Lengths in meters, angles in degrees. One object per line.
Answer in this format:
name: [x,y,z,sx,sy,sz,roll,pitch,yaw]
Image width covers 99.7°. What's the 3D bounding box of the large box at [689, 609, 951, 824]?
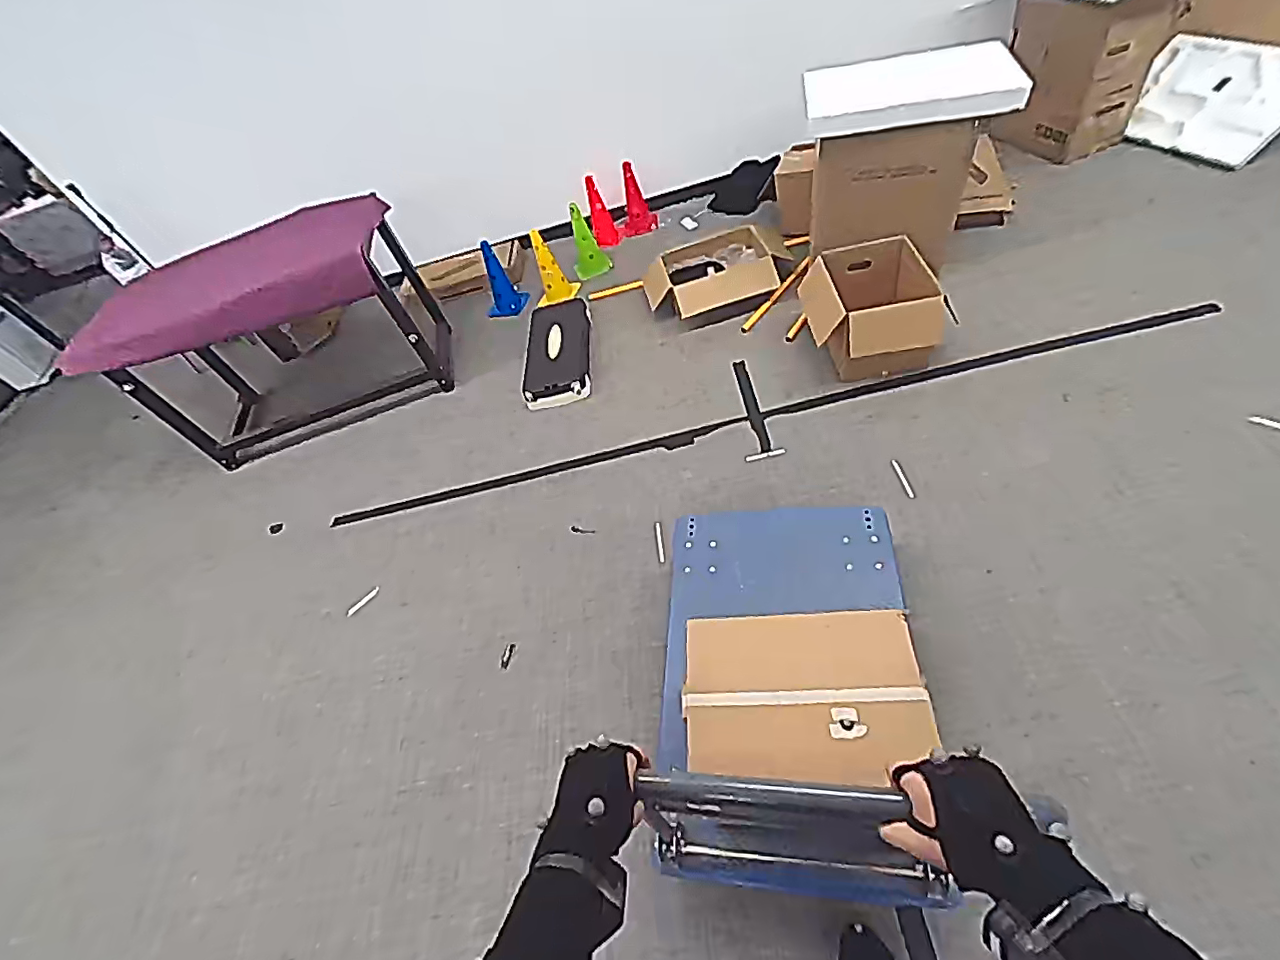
large box: [0.319,0.476,1.067,0.408,0.320,0.320,-6,51,11]
